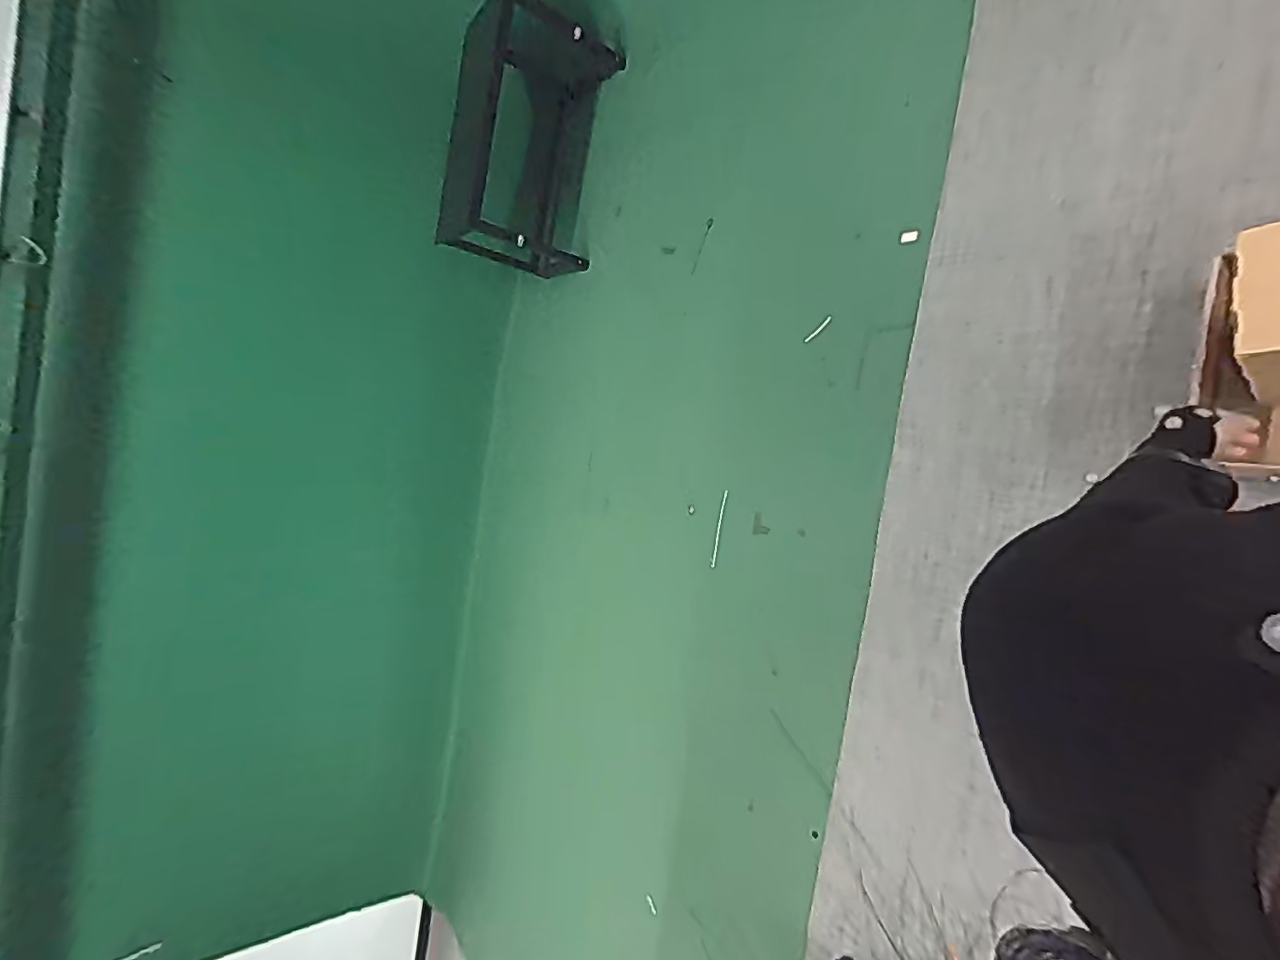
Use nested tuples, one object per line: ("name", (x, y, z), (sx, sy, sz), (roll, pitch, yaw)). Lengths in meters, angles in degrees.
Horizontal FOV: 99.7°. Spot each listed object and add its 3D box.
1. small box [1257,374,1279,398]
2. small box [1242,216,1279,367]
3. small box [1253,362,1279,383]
("small box", (1.158, -0.232, 0.886), (0.179, 0.176, 0.168), (4, 89, 52))
("small box", (0.902, -0.249, 0.685), (0.179, 0.176, 0.168), (-1, 86, 53))
("small box", (1.032, -0.235, 0.781), (0.168, 0.176, 0.179), (11, 95, 52))
